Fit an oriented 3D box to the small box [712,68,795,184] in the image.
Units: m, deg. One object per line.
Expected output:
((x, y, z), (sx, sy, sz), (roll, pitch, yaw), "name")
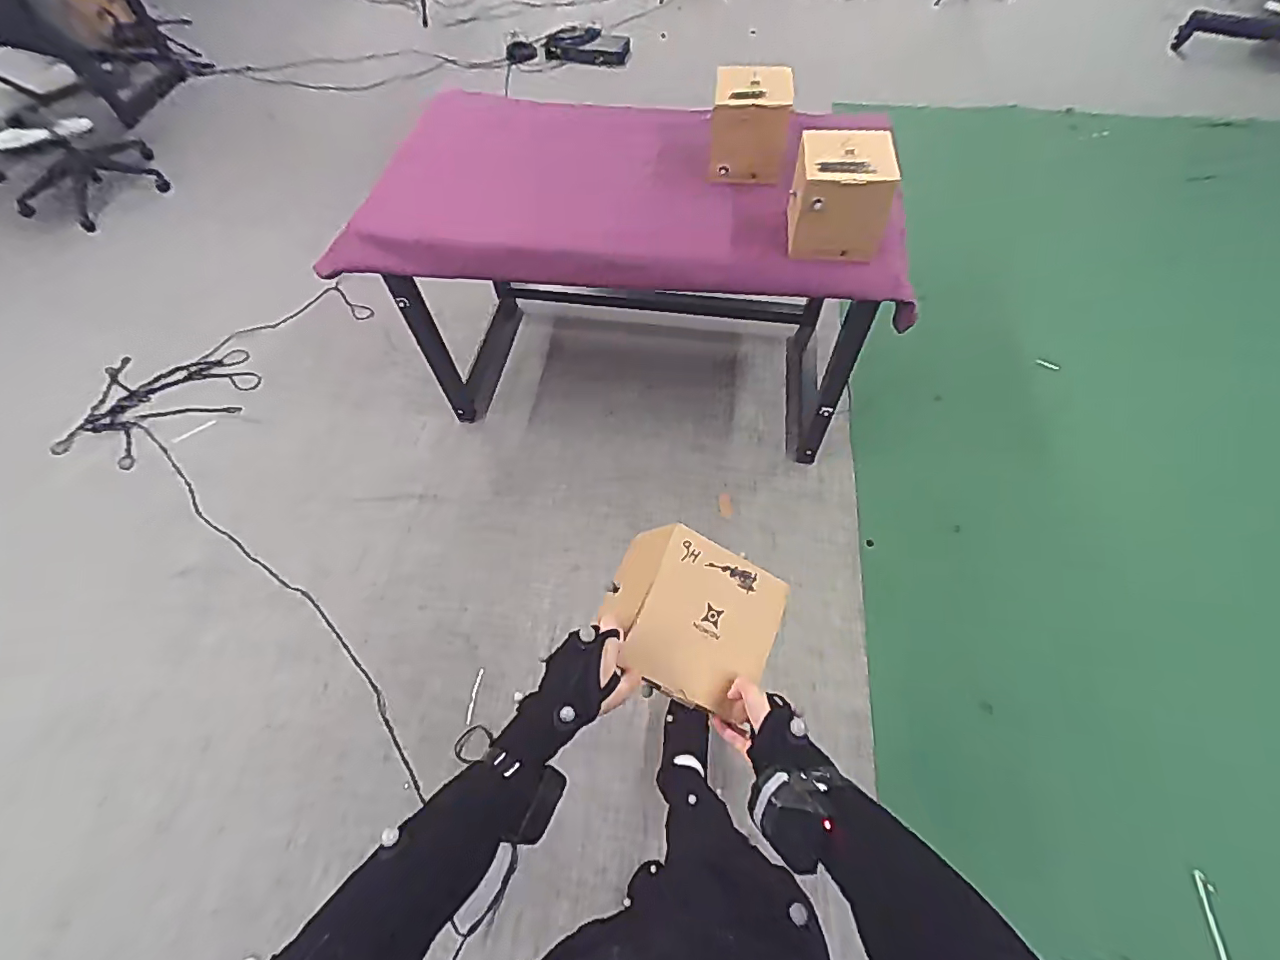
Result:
((0.253, -0.798, 1.226), (0.168, 0.176, 0.179), (5, 59, 6), "small box")

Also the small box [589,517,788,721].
((0.049, 0.168, 0.683), (0.168, 0.176, 0.179), (30, 72, -11), "small box")
